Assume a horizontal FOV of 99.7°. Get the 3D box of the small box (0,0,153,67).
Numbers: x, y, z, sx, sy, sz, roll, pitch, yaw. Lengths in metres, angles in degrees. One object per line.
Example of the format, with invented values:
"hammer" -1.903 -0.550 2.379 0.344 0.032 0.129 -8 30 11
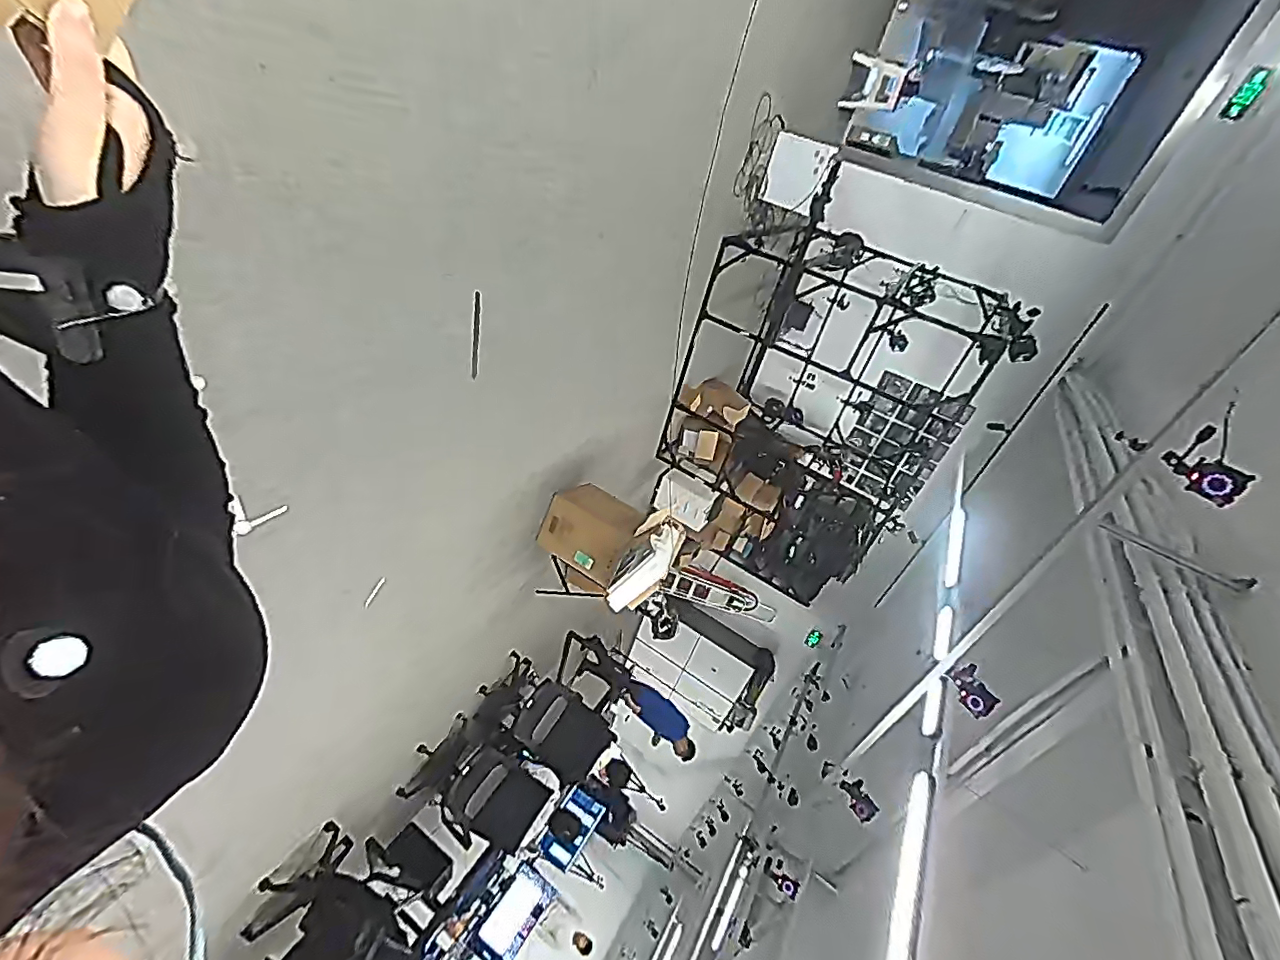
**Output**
"small box" -0.319 -0.331 0.216 0.179 0.176 0.168 -64 173 -2
